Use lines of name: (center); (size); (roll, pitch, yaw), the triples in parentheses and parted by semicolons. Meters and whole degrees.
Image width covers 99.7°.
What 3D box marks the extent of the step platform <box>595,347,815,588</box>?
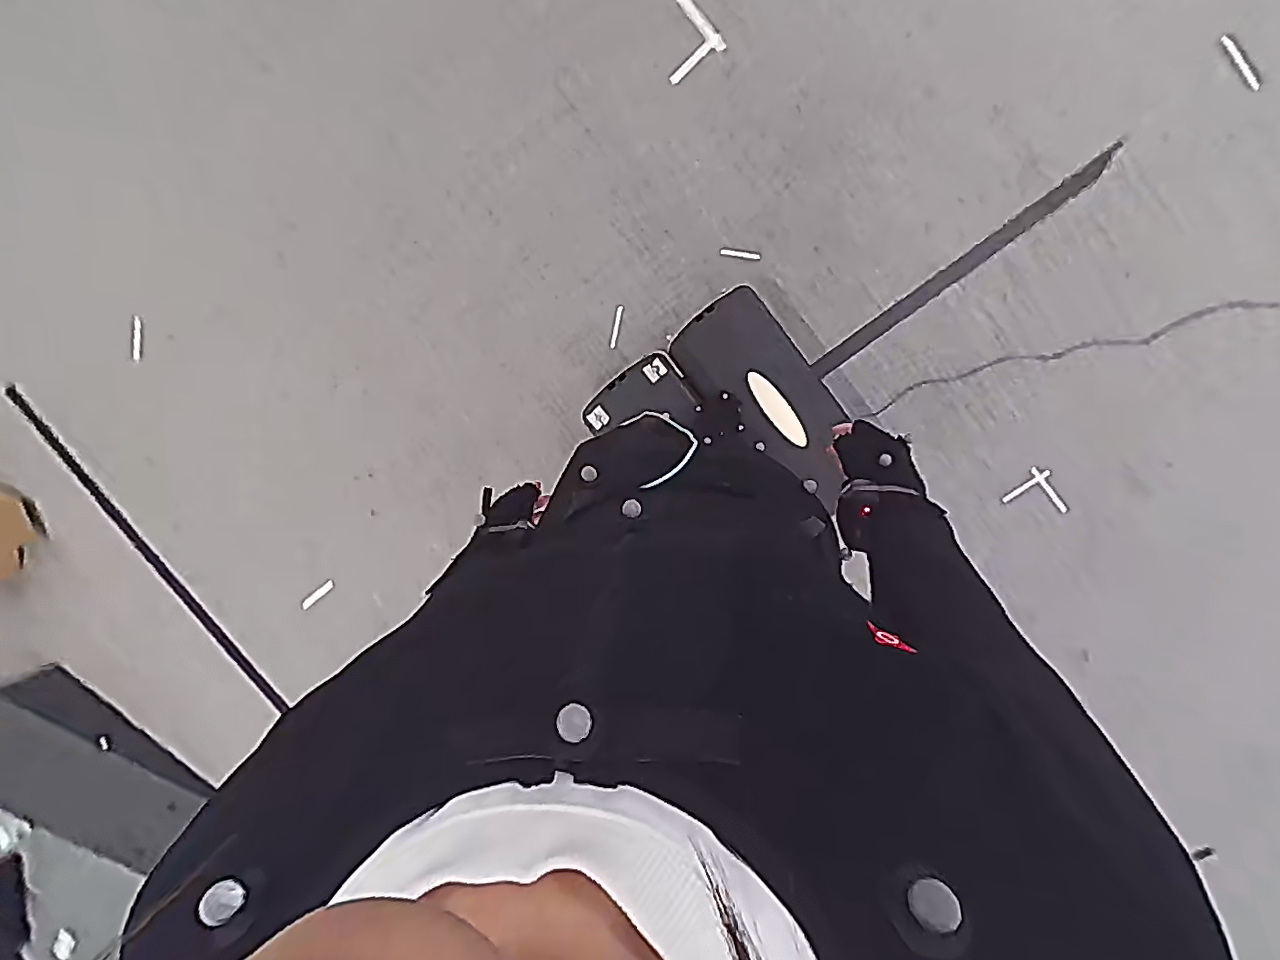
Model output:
step platform: (0.180, -0.034, 1.516); (0.286, 0.204, 0.684); (-39, 92, 11)
